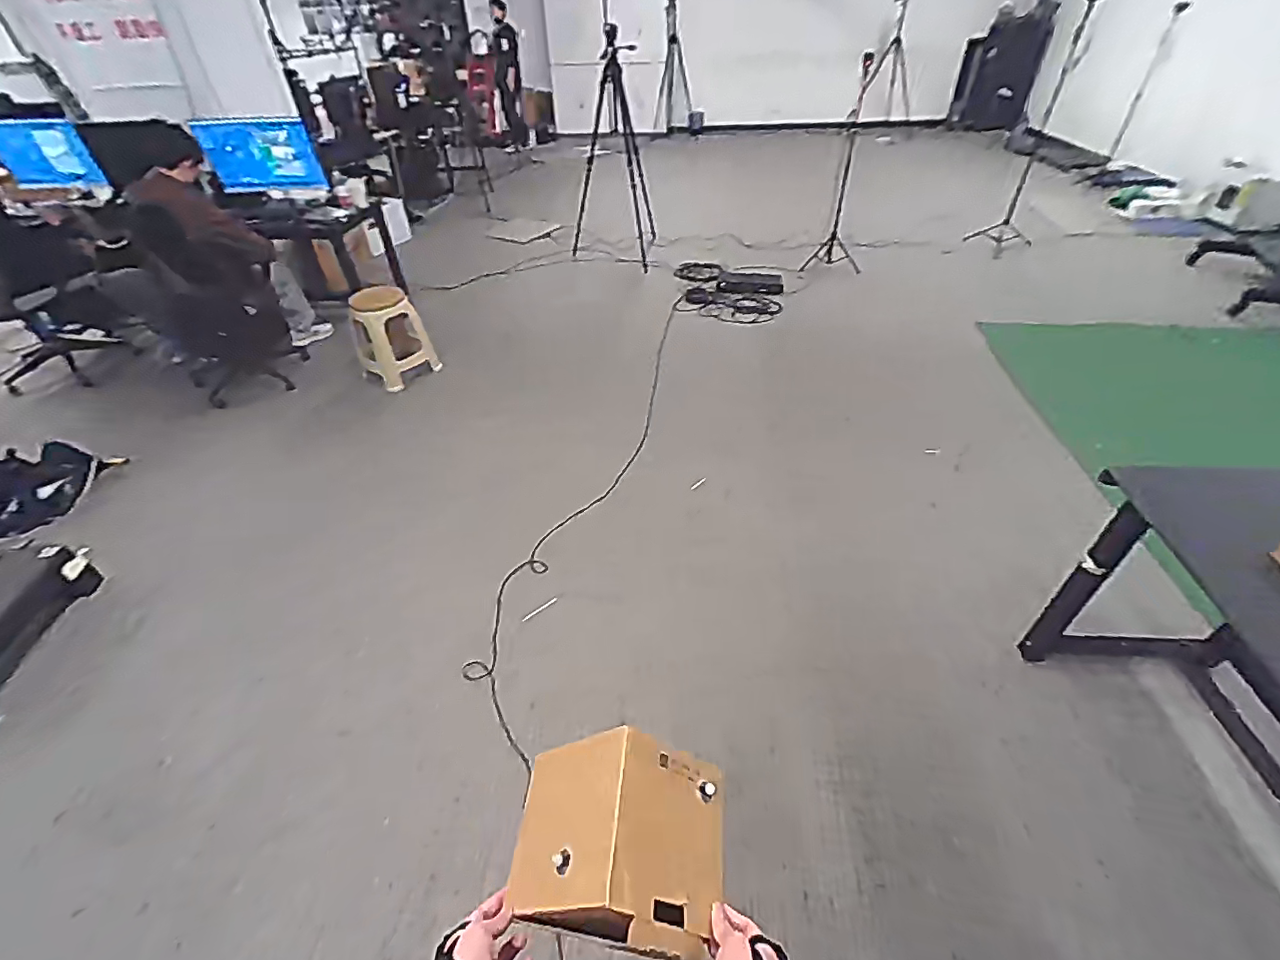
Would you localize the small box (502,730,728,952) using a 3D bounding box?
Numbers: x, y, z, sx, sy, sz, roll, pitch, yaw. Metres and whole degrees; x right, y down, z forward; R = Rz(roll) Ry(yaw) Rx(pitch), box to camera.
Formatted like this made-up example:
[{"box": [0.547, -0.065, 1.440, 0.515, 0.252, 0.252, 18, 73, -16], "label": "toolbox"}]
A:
[{"box": [-0.021, 0.404, 0.608, 0.179, 0.168, 0.176, -33, 30, 31], "label": "small box"}]
